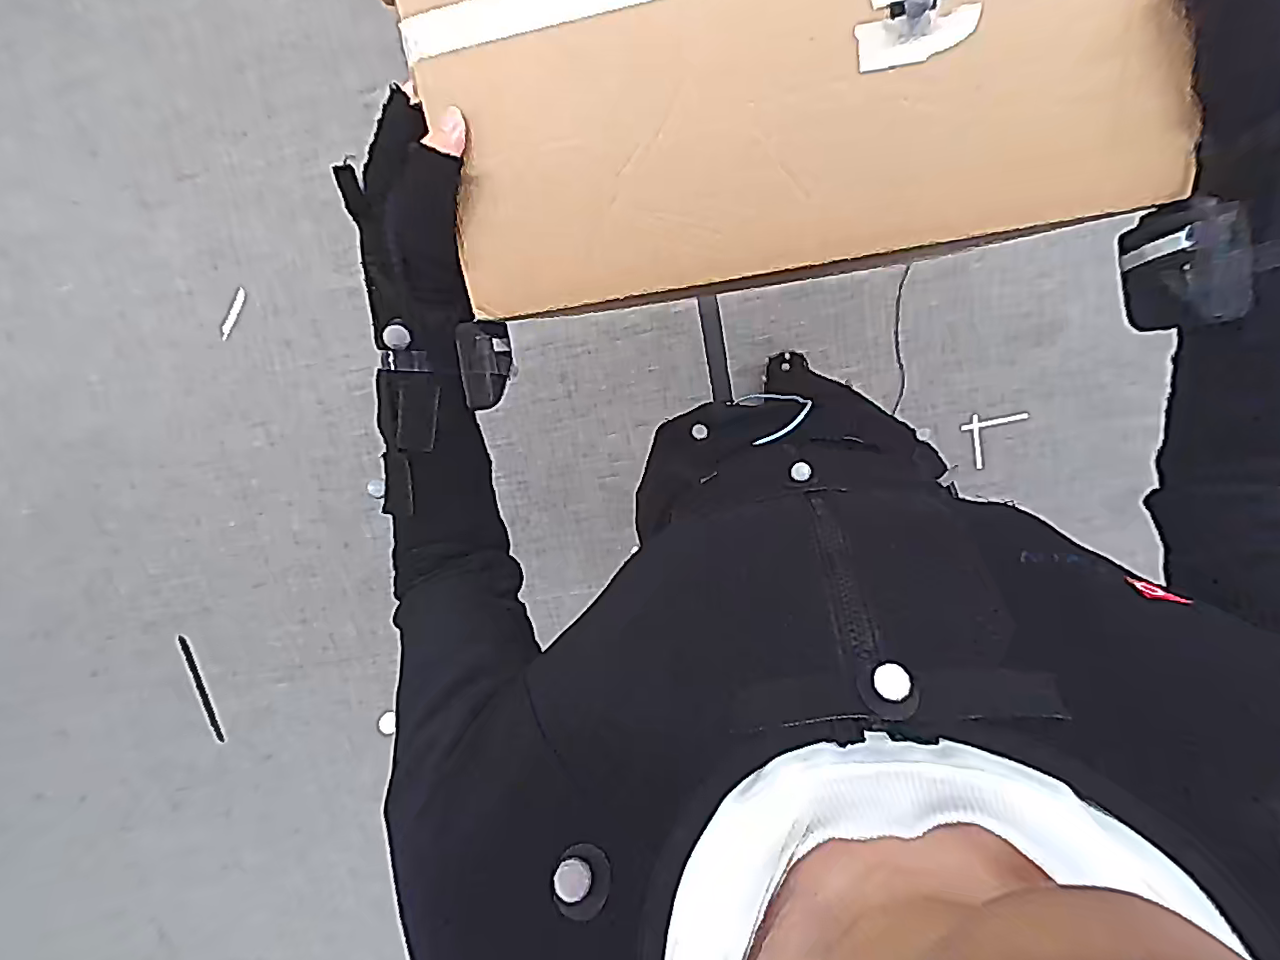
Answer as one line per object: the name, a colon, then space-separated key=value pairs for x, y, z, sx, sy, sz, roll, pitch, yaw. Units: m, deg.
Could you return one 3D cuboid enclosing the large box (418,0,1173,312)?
large box: x=0.083 y=-0.328 z=0.431 sx=0.408 sy=0.320 sz=0.320 roll=-7 pitch=107 yaw=9
